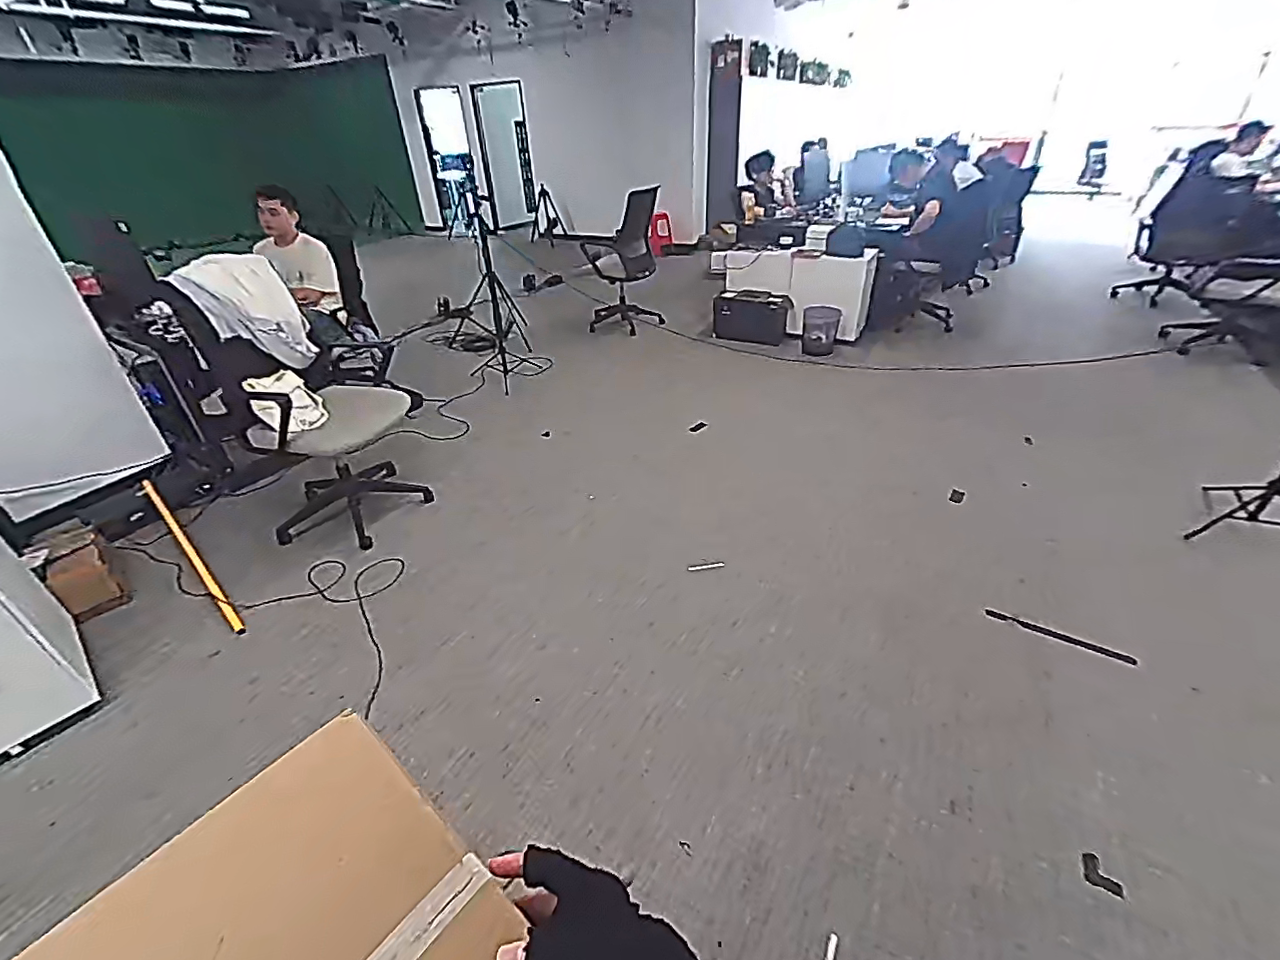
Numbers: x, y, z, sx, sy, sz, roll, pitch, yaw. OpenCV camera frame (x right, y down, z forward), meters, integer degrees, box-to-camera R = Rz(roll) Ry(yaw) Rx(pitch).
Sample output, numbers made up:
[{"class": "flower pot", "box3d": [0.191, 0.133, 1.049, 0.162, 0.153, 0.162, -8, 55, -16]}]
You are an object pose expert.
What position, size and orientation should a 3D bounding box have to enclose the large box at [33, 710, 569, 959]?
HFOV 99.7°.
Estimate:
[{"class": "large box", "box3d": [-0.248, 0.458, 0.348, 0.320, 0.320, 0.408, 35, 50, 23]}]
